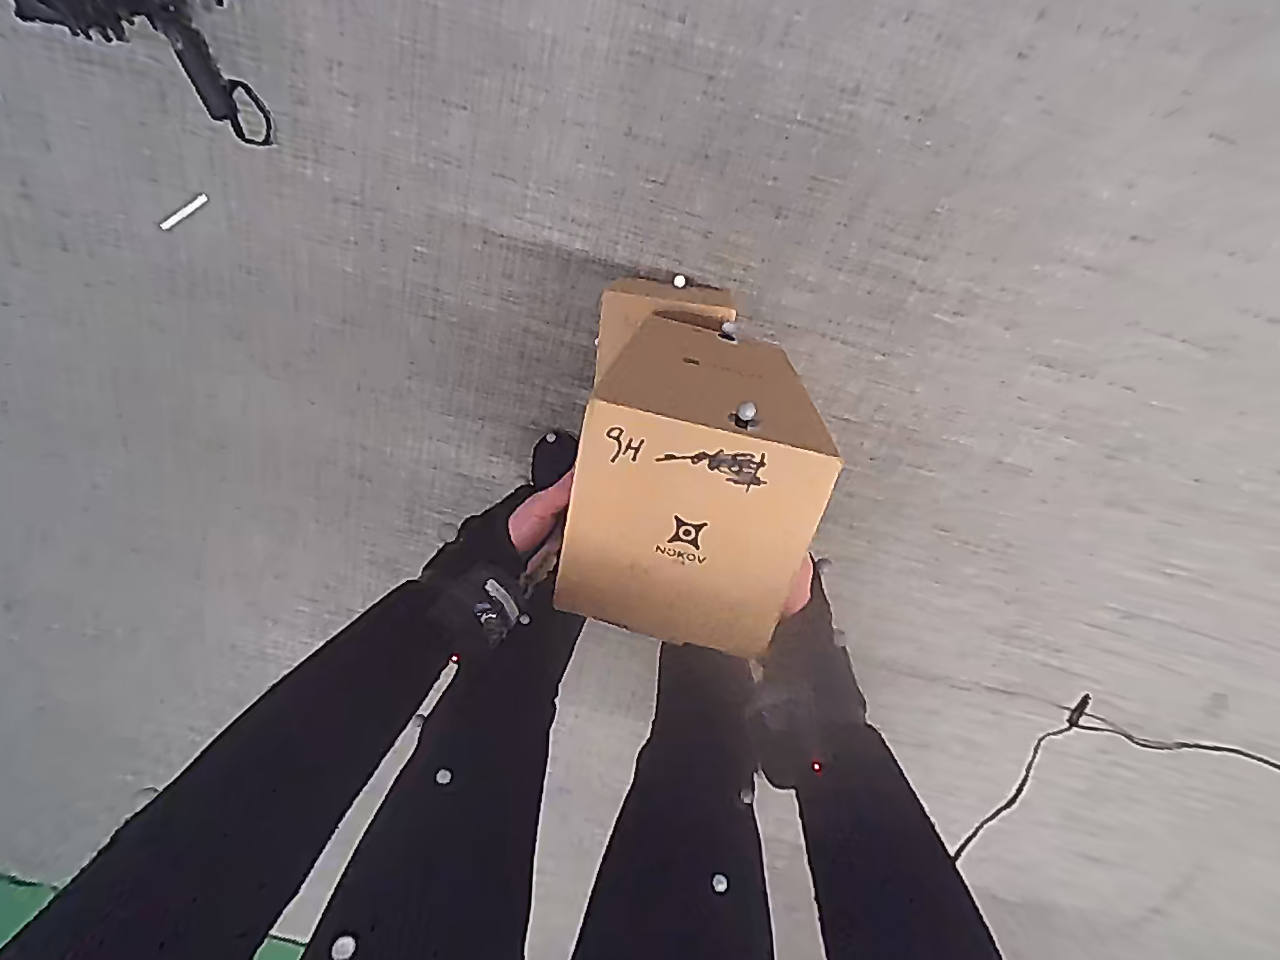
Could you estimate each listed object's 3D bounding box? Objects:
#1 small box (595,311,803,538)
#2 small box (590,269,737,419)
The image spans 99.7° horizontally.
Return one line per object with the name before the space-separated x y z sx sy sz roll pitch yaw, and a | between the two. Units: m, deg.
small box | 0.060 -0.069 0.586 0.168 0.176 0.179 14 116 1
small box | 0.034 -0.183 0.750 0.168 0.176 0.179 9 117 2
